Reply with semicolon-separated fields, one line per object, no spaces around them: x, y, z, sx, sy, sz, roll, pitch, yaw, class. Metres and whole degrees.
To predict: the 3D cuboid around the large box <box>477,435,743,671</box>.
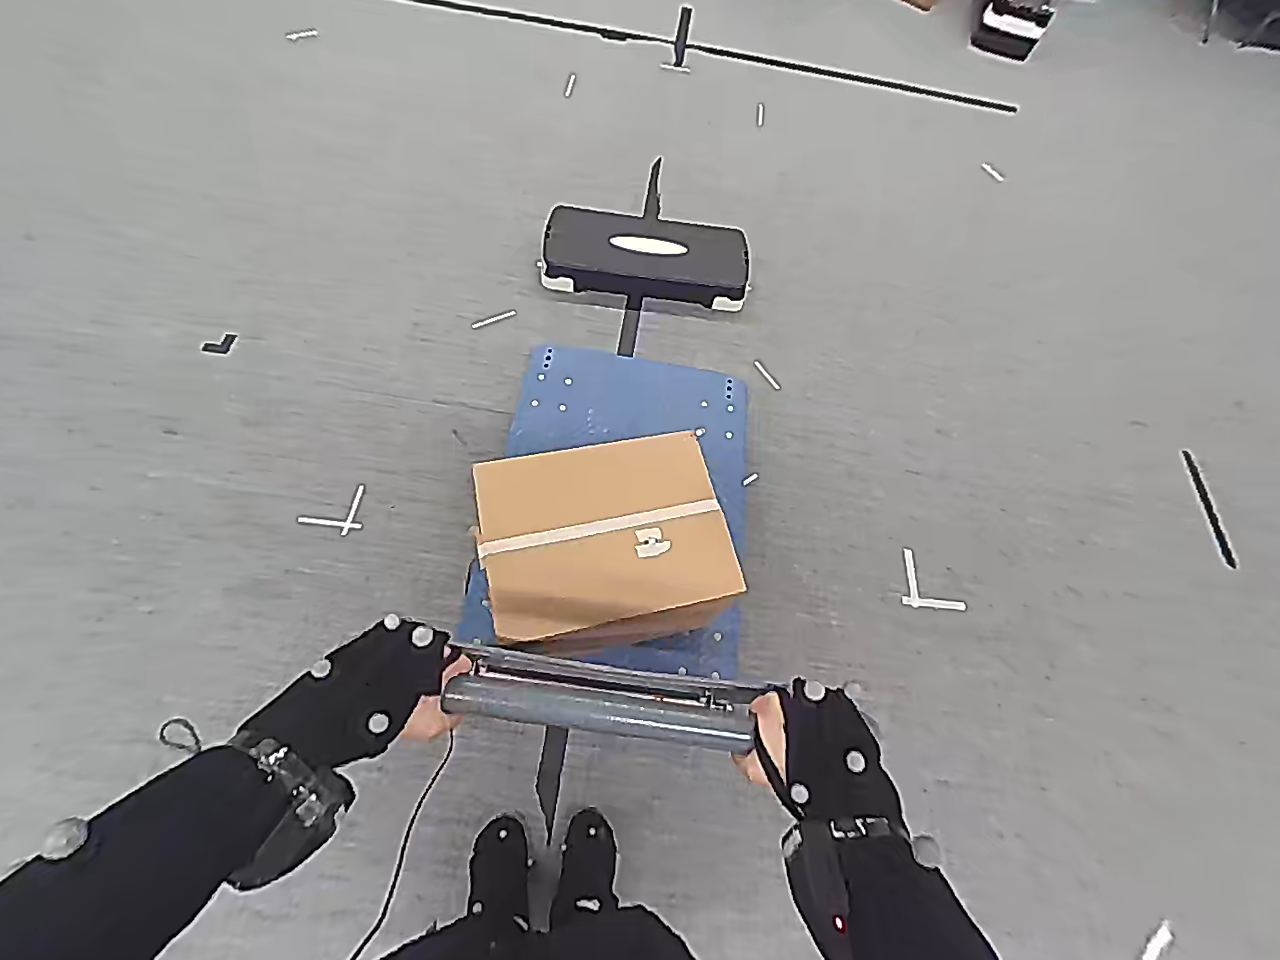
-0.074;0.148;1.043;0.408;0.320;0.320;-9;67;-13;large box
